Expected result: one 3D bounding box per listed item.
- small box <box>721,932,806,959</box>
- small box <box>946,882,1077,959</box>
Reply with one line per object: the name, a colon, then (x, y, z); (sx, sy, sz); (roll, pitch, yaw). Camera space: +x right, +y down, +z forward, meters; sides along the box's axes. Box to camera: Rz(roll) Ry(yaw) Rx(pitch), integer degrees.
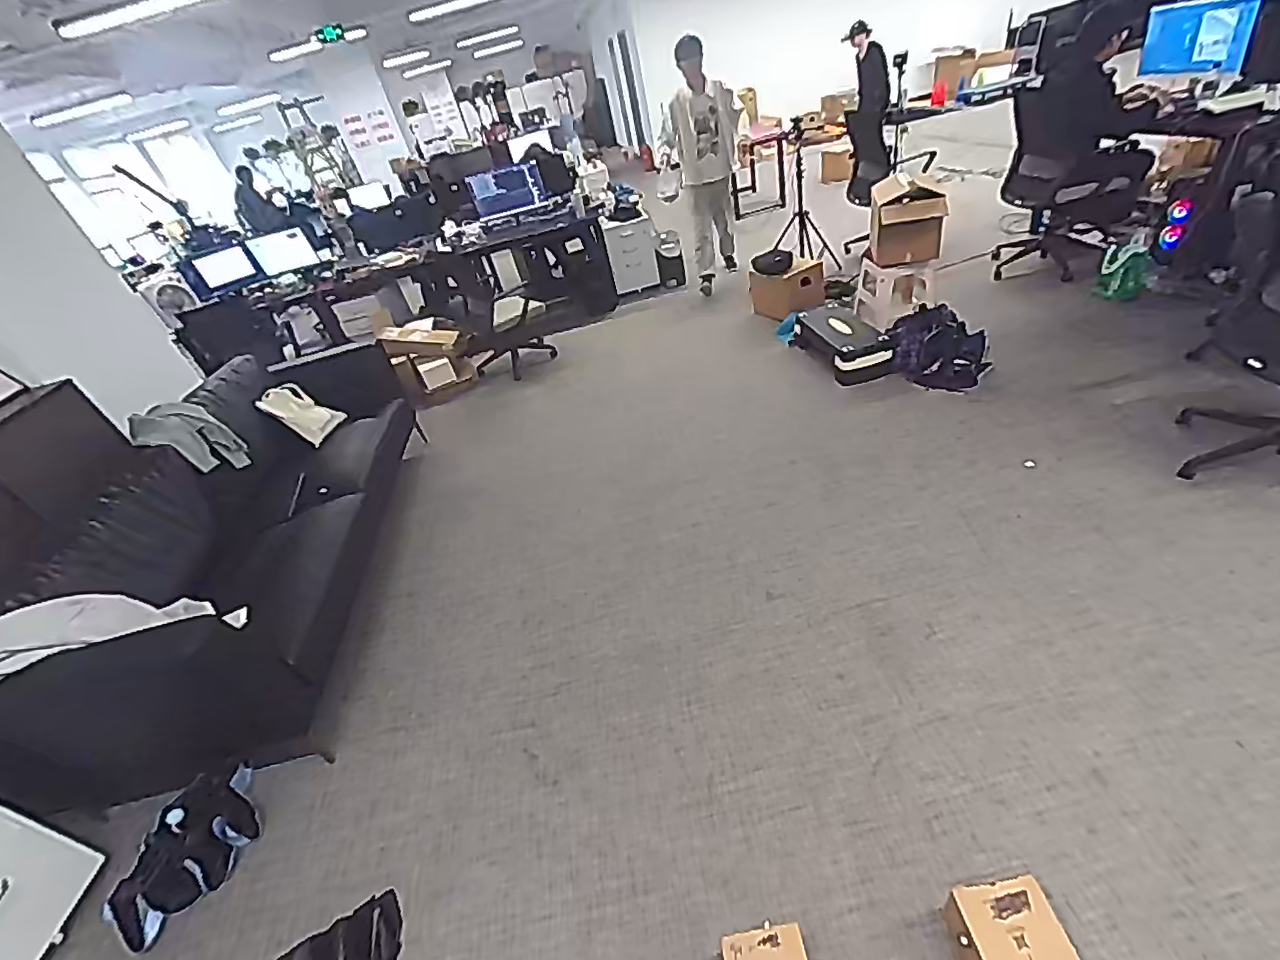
small box: (0.270, 1.050, 1.084); (0.168, 0.176, 0.179); (-13, 35, 3)
small box: (0.731, 0.934, 1.064); (0.168, 0.176, 0.179); (-14, 37, 4)
